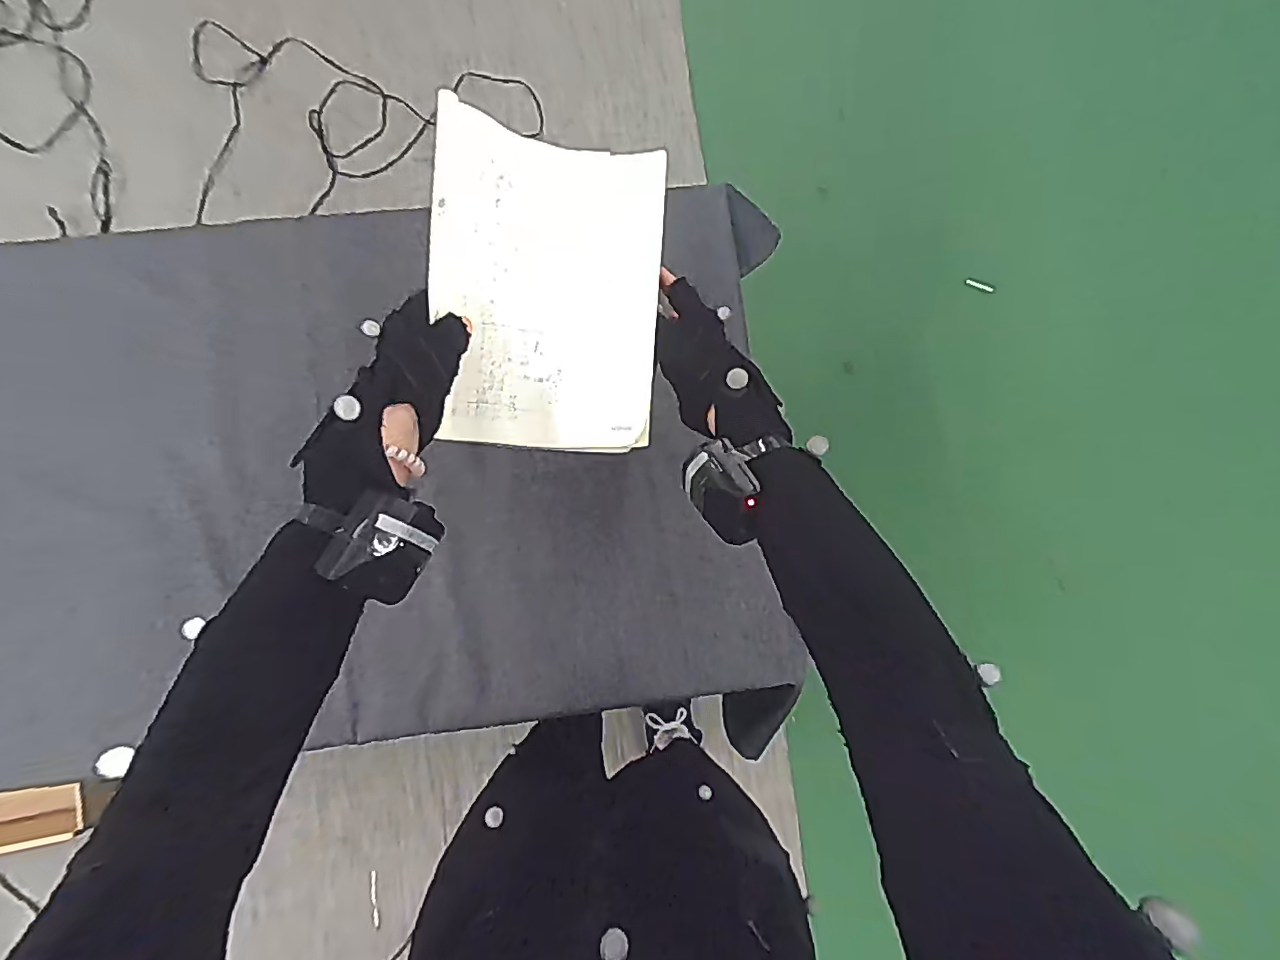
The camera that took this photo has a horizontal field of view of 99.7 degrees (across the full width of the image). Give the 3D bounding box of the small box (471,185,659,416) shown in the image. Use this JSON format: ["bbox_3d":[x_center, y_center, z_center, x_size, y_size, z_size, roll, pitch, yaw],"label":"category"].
[{"bbox_3d":[-0.072,-0.173,0.564,0.168,0.176,0.179,-4,85,-2],"label":"small box"}]
